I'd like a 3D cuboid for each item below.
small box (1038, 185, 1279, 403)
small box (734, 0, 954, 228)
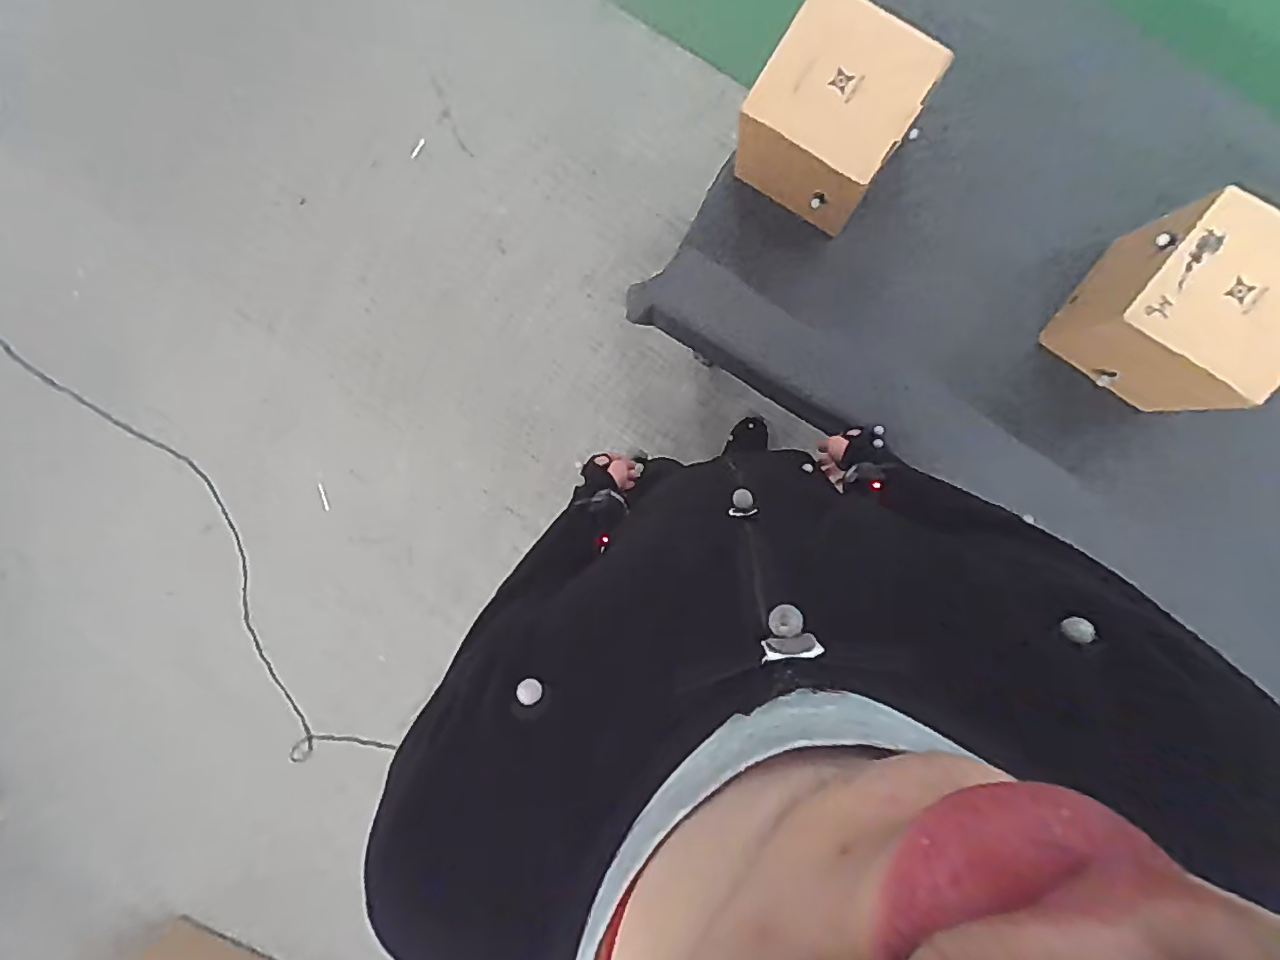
[{"bbox_3d":[0.654,-0.208,0.658,0.179,0.176,0.168,34,98,1],"label":"small box"},{"bbox_3d":[0.237,-0.448,0.678,0.179,0.176,0.168,32,96,3],"label":"small box"}]
